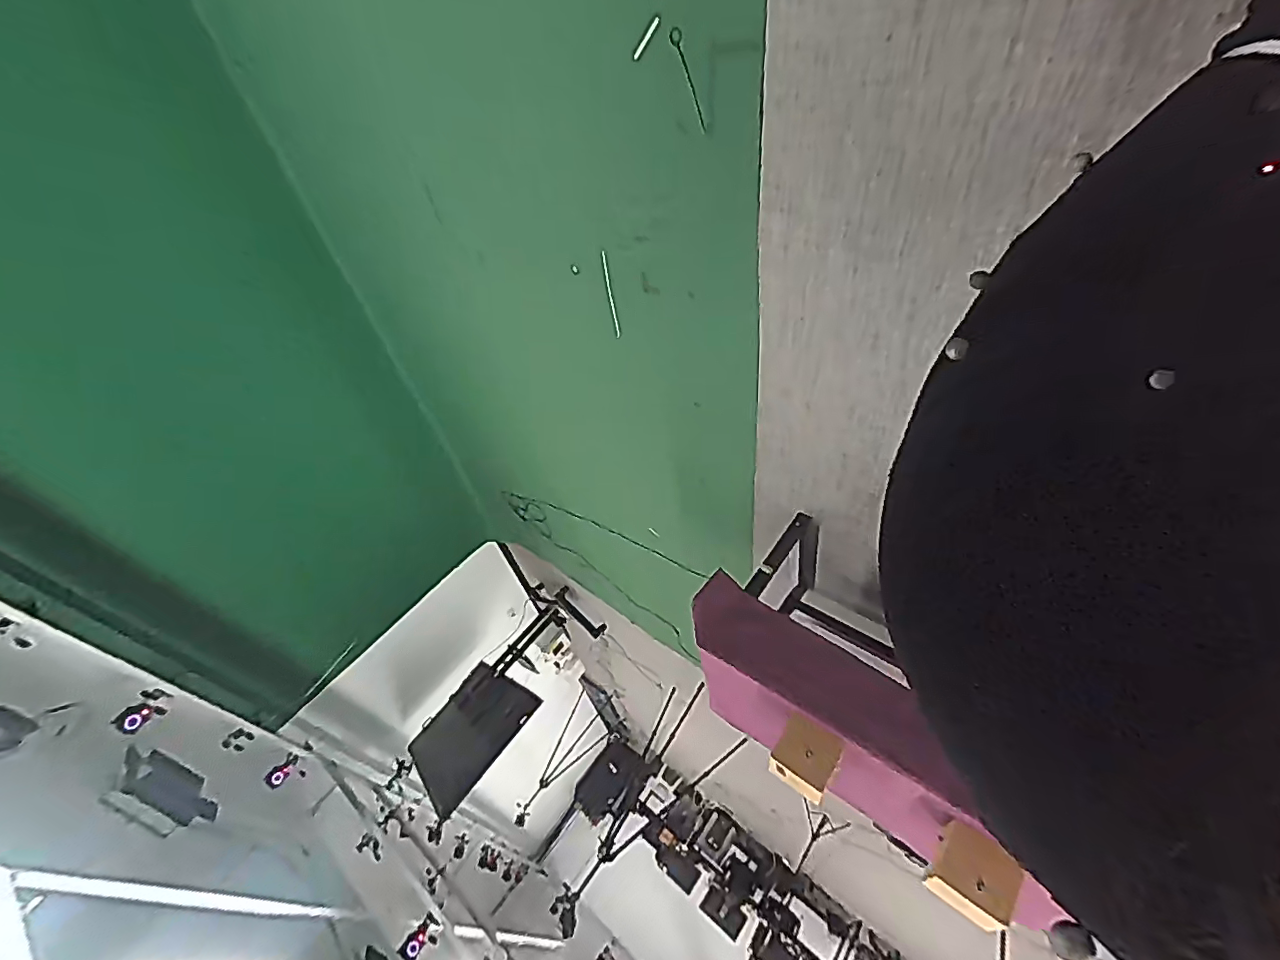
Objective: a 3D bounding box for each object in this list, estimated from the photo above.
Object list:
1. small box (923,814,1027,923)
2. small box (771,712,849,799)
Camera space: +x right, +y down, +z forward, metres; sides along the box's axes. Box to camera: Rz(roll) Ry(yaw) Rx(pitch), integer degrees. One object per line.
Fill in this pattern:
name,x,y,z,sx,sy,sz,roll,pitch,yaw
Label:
small box,0.912,1.055,1.472,0.179,0.176,0.168,27,149,30
small box,0.537,0.864,1.717,0.179,0.176,0.168,26,148,30
